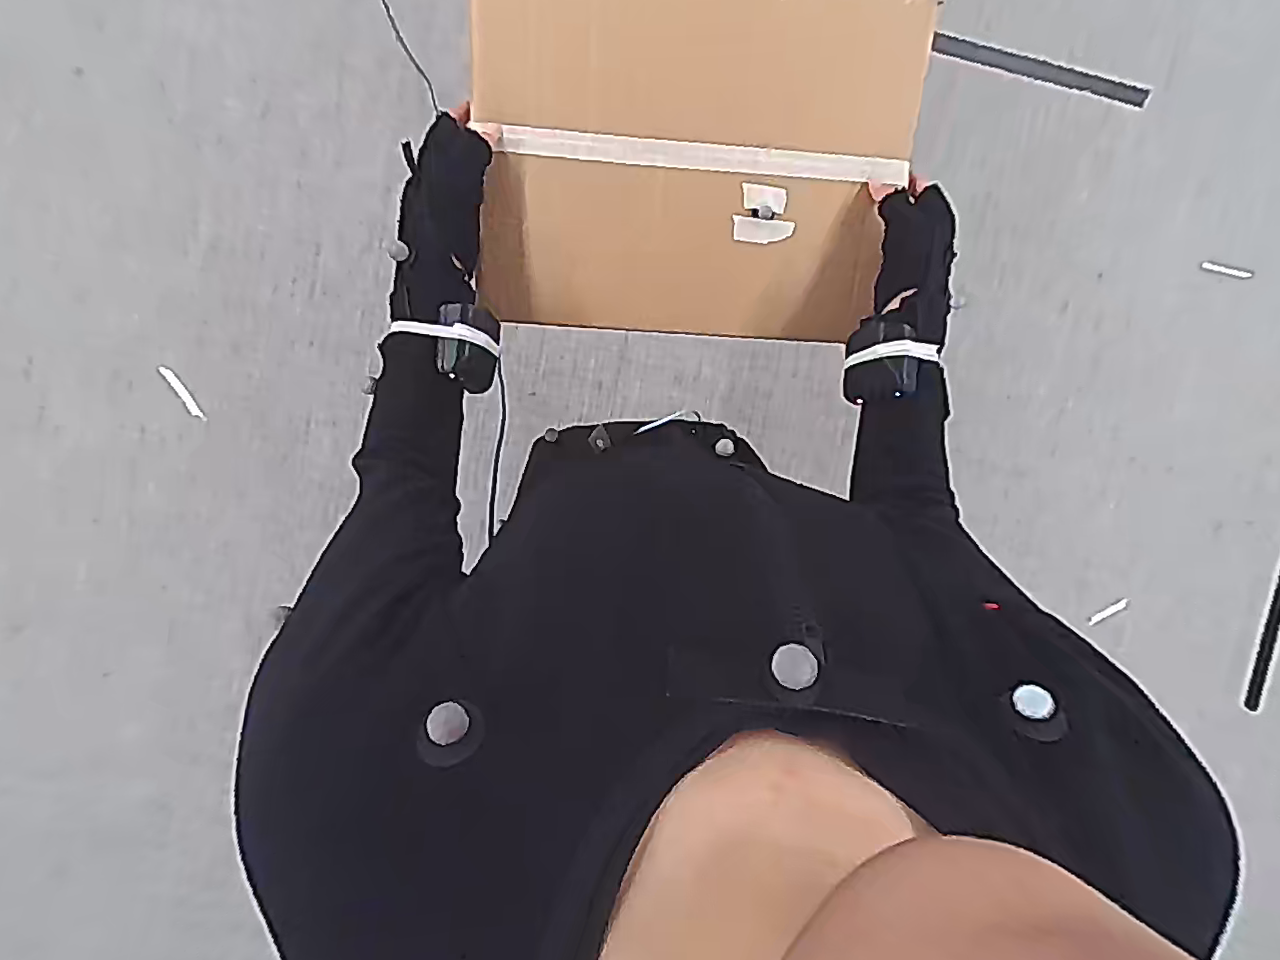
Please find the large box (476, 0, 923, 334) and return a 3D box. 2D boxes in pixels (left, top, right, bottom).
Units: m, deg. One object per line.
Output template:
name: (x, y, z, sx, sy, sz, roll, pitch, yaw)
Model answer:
large box: (0.037, -0.348, 0.651, 0.408, 0.320, 0.320, 2, 108, -6)
